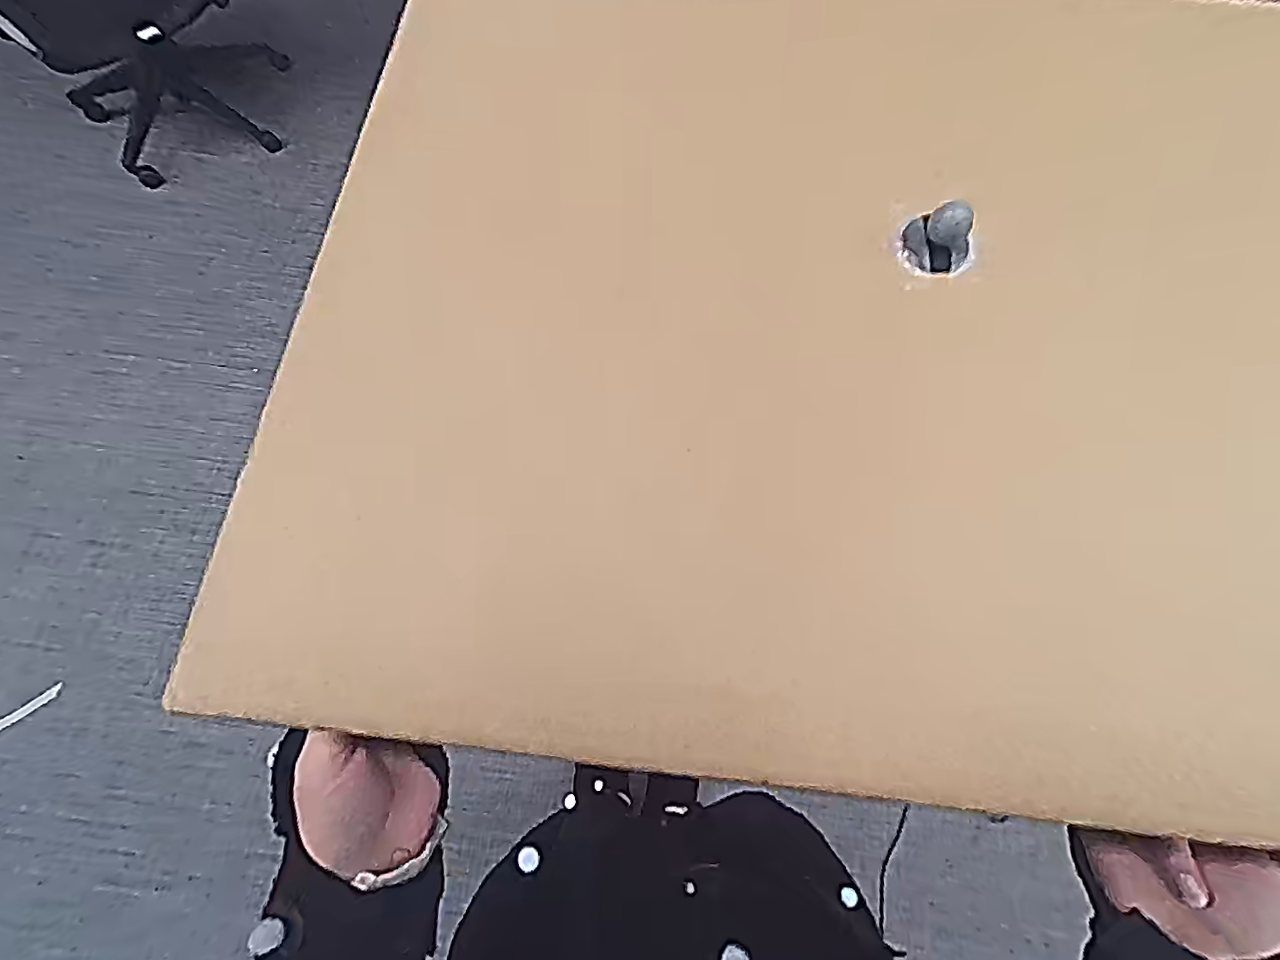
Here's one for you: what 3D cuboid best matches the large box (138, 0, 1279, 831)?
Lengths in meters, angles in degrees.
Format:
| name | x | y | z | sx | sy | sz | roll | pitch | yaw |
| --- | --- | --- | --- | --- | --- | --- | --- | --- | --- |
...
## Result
| name | x | y | z | sx | sy | sz | roll | pitch | yaw |
| --- | --- | --- | --- | --- | --- | --- | --- | --- | --- |
| large box | 0.075 | -0.023 | 0.318 | 0.408 | 0.320 | 0.320 | 5 | 74 | 2 |
